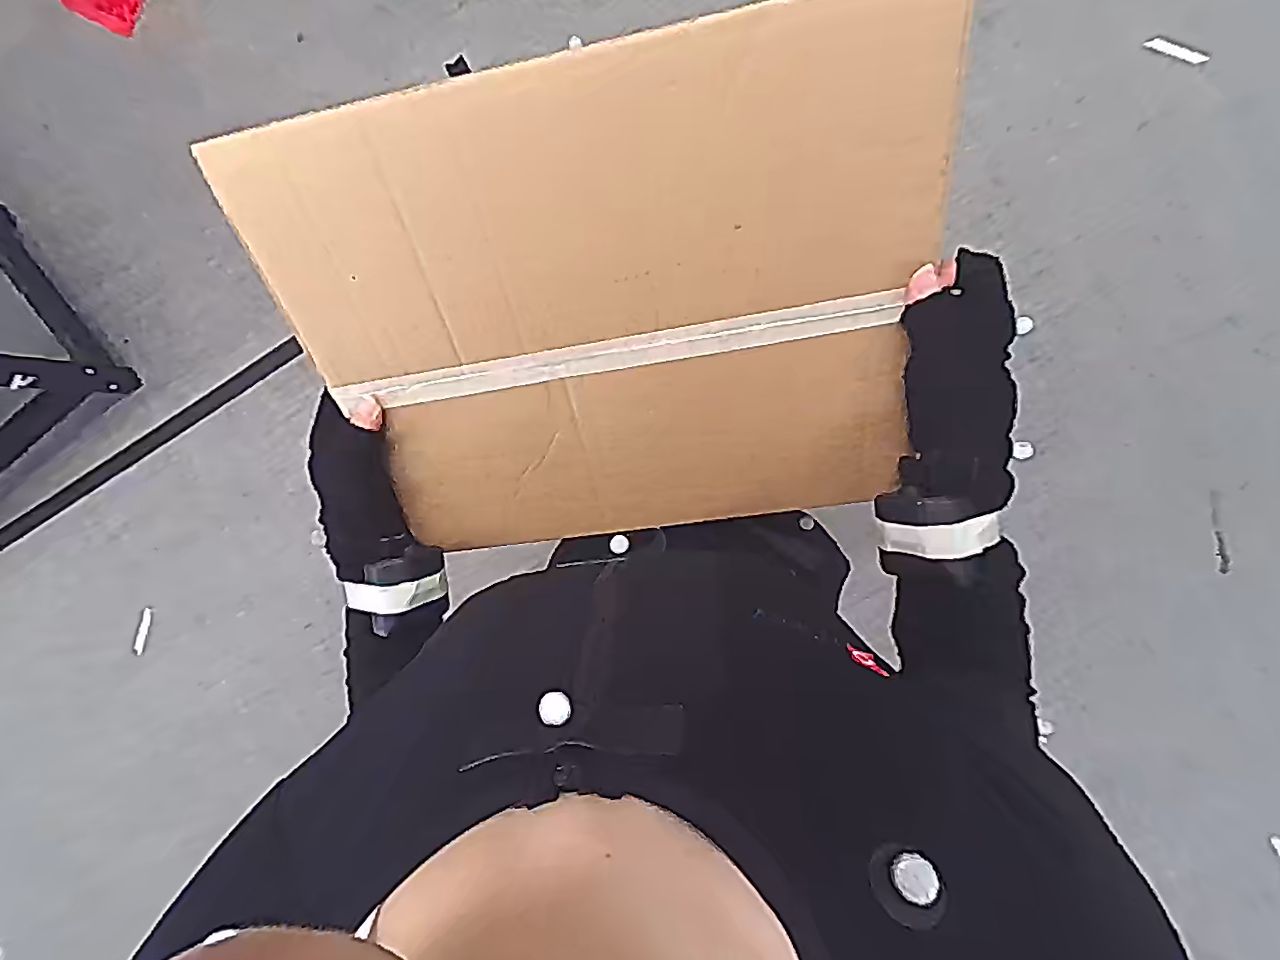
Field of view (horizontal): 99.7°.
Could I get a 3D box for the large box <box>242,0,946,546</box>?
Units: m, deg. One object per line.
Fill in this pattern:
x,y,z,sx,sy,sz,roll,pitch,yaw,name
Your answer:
-0.008,-0.178,0.494,0.408,0.320,0.320,-8,126,8,large box
